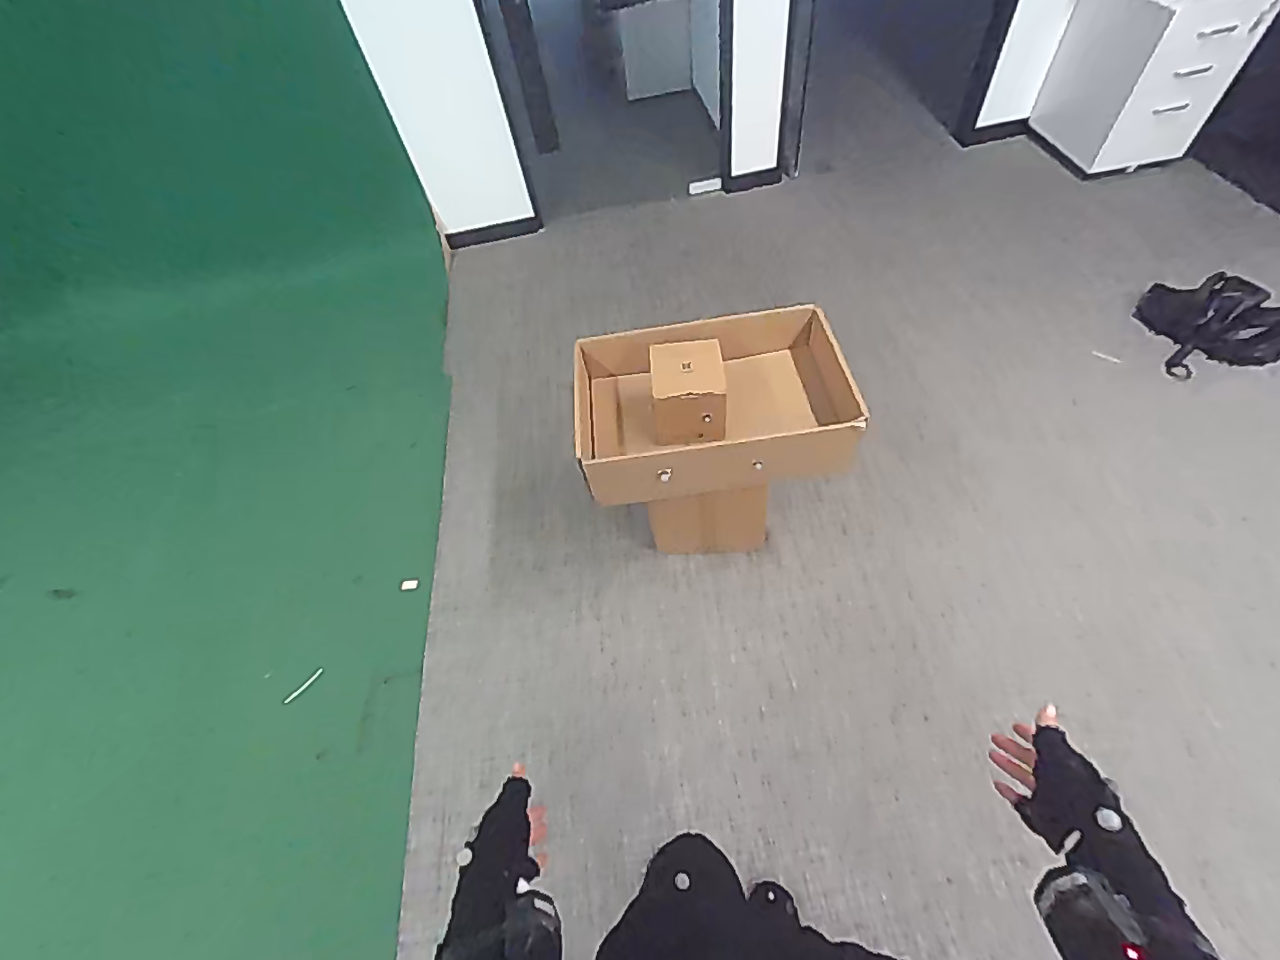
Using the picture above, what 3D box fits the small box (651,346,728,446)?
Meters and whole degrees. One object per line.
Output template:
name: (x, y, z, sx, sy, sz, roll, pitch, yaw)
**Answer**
small box: (0.116, -0.193, 1.291, 0.168, 0.176, 0.179, -5, 52, 2)
